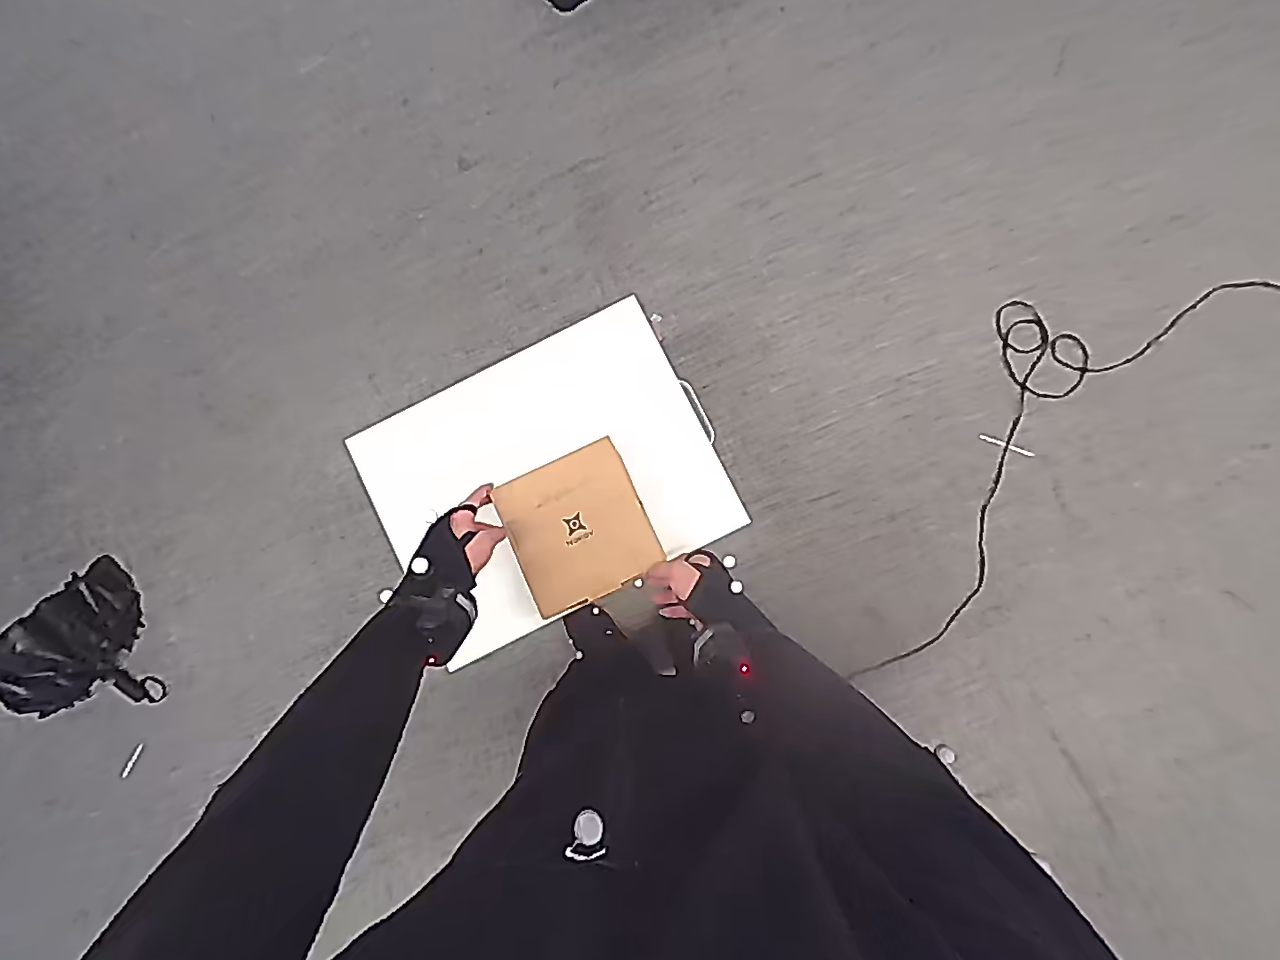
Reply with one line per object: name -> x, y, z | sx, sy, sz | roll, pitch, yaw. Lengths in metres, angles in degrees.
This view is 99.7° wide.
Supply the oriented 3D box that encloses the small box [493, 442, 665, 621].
small box -> -0.072, 0.069, 0.742 | 0.168, 0.176, 0.179 | -25, 83, -1
